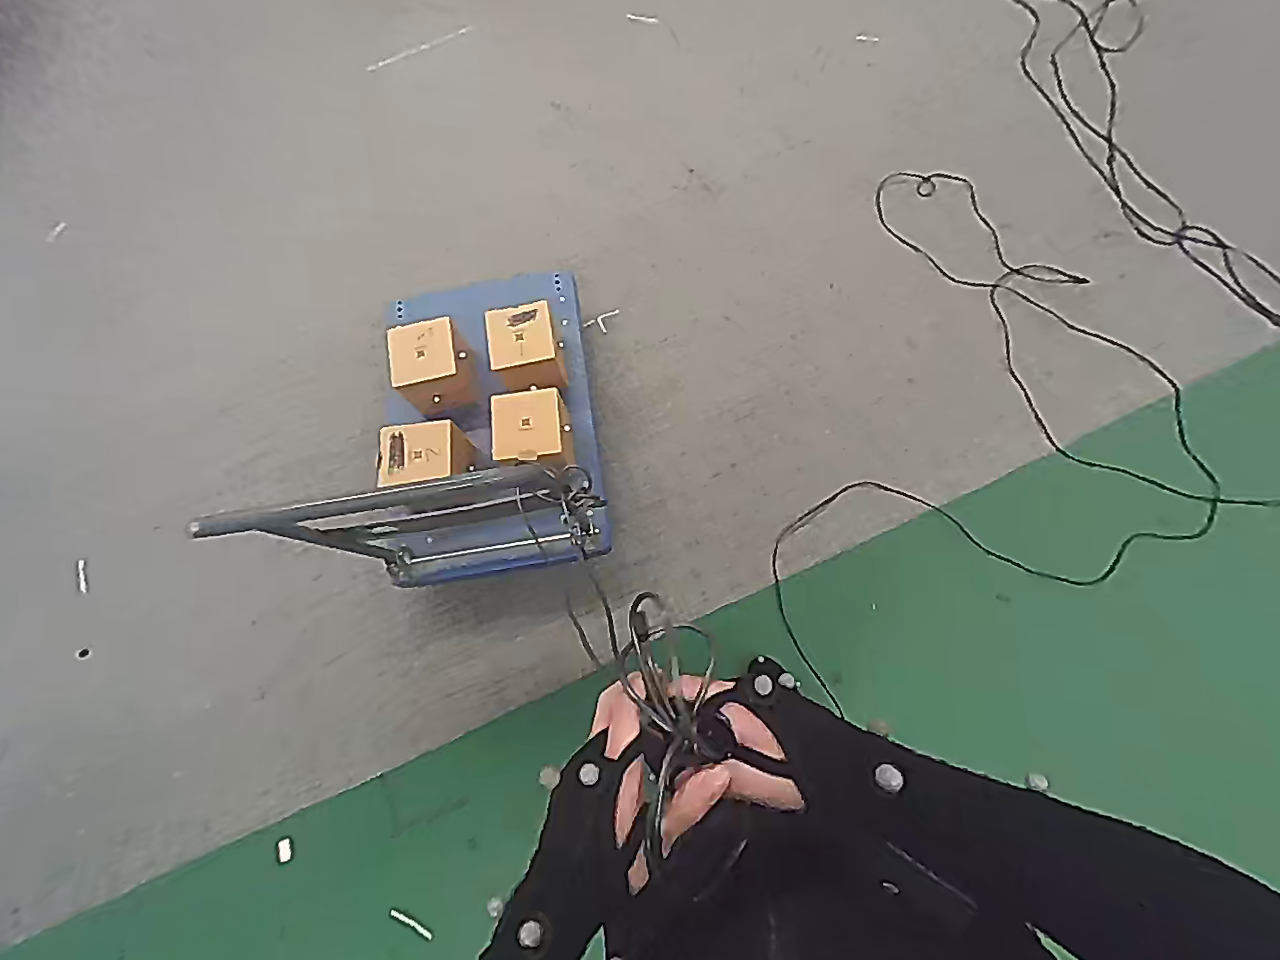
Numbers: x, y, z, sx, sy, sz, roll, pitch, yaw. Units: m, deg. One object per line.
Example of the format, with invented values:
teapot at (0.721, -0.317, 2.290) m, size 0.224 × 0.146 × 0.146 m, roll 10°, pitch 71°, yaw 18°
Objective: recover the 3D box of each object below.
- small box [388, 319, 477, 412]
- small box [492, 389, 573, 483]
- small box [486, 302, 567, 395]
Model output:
small box at (-0.551, -0.298, 1.452) m, size 0.168 × 0.176 × 0.179 m, roll -13°, pitch 72°, yaw 0°
small box at (-0.269, -0.107, 1.372) m, size 0.168 × 0.176 × 0.179 m, roll -8°, pitch 73°, yaw 2°
small box at (-0.299, -0.342, 1.446) m, size 0.168 × 0.176 × 0.179 m, roll -11°, pitch 73°, yaw 2°
